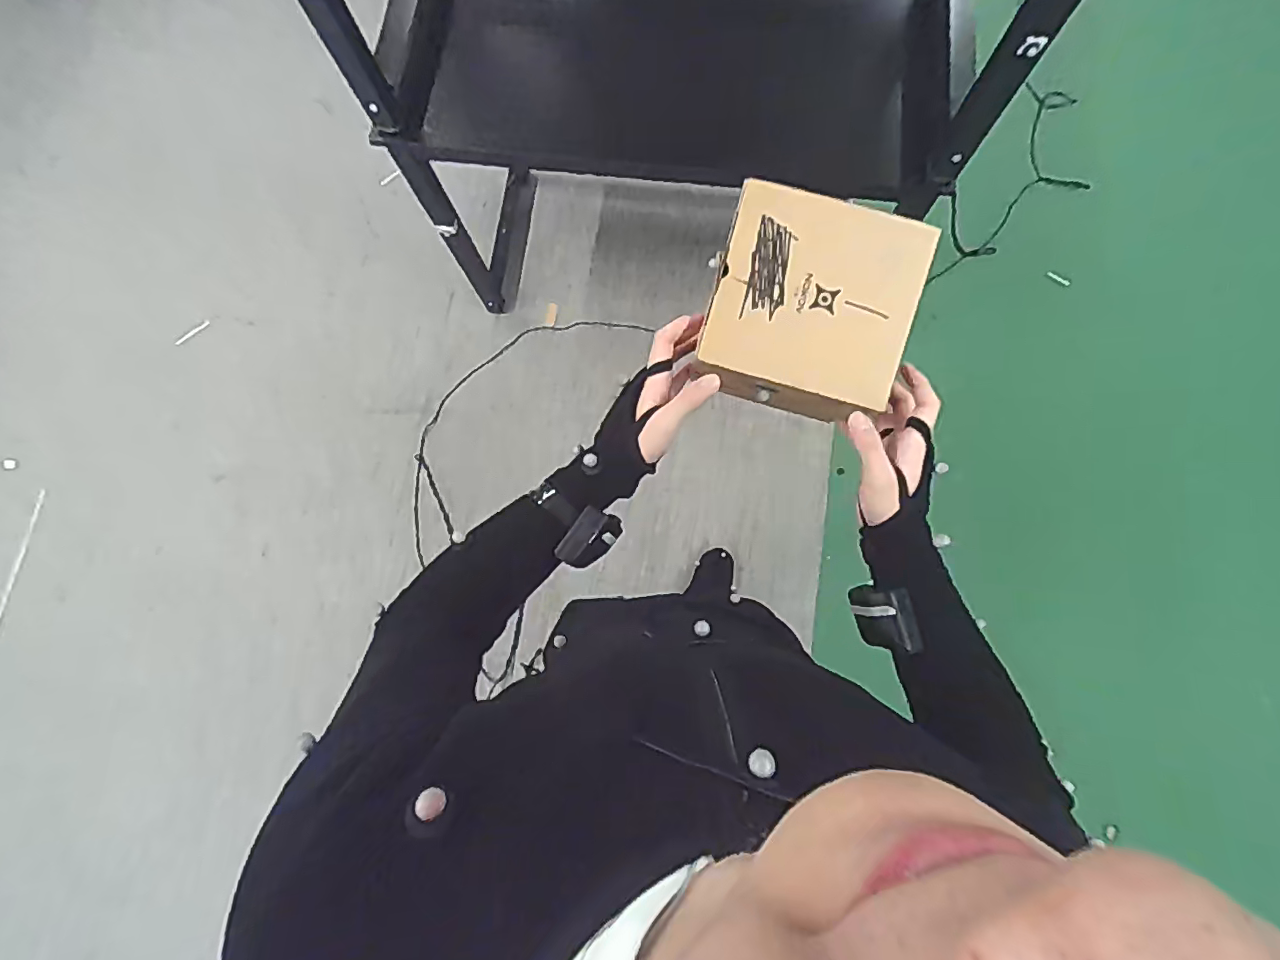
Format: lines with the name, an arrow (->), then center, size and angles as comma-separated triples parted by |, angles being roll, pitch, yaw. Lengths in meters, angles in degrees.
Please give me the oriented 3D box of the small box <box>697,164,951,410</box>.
small box -> 0.161, -0.172, 0.540 | 0.179, 0.176, 0.168 | 17, 95, 2
